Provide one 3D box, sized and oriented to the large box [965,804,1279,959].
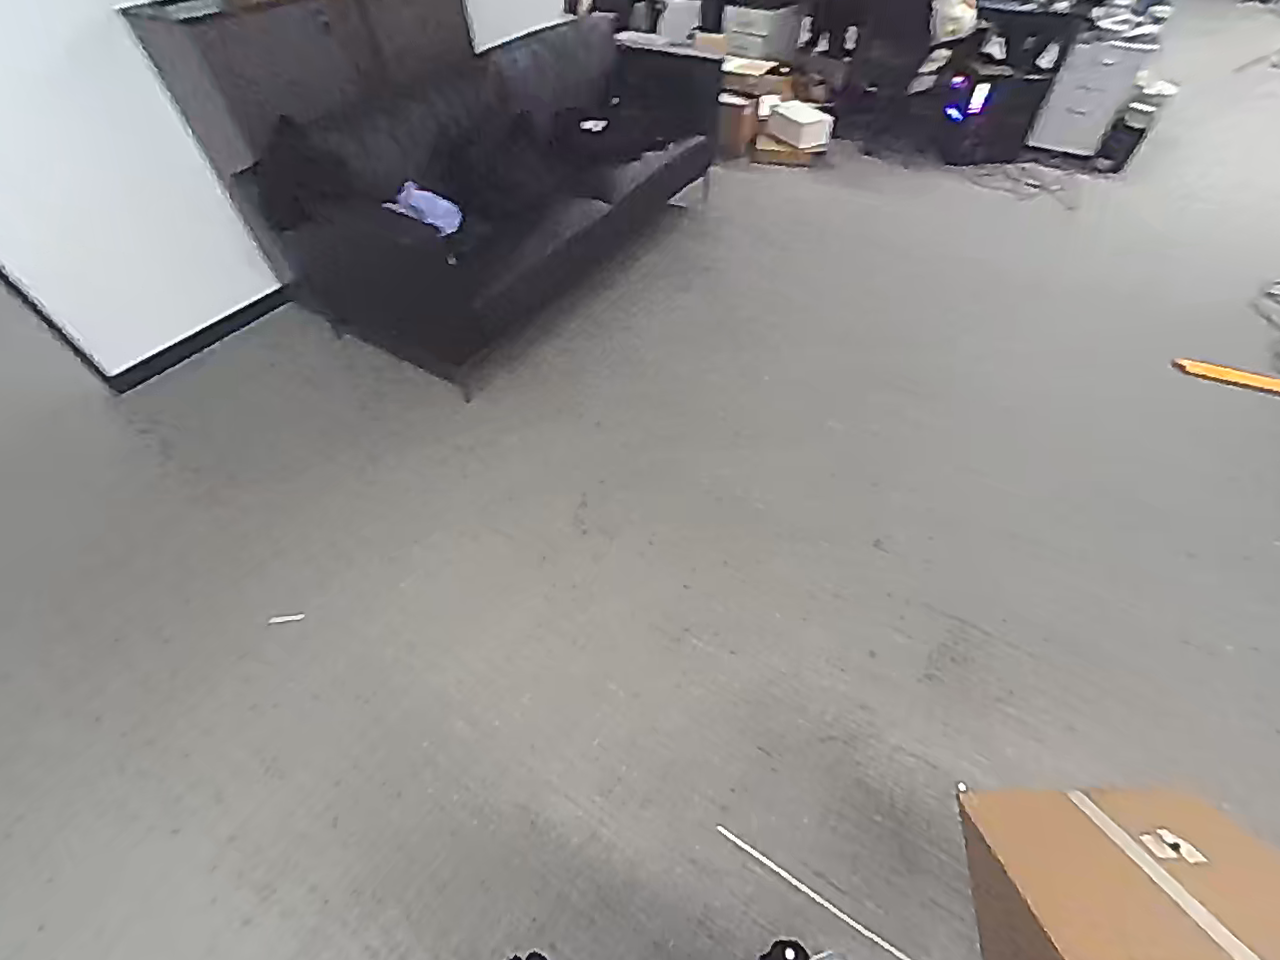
[{"bbox_3d":[0.626,0.631,0.601,0.320,0.408,0.320,-6,87,12],"label":"large box"}]
